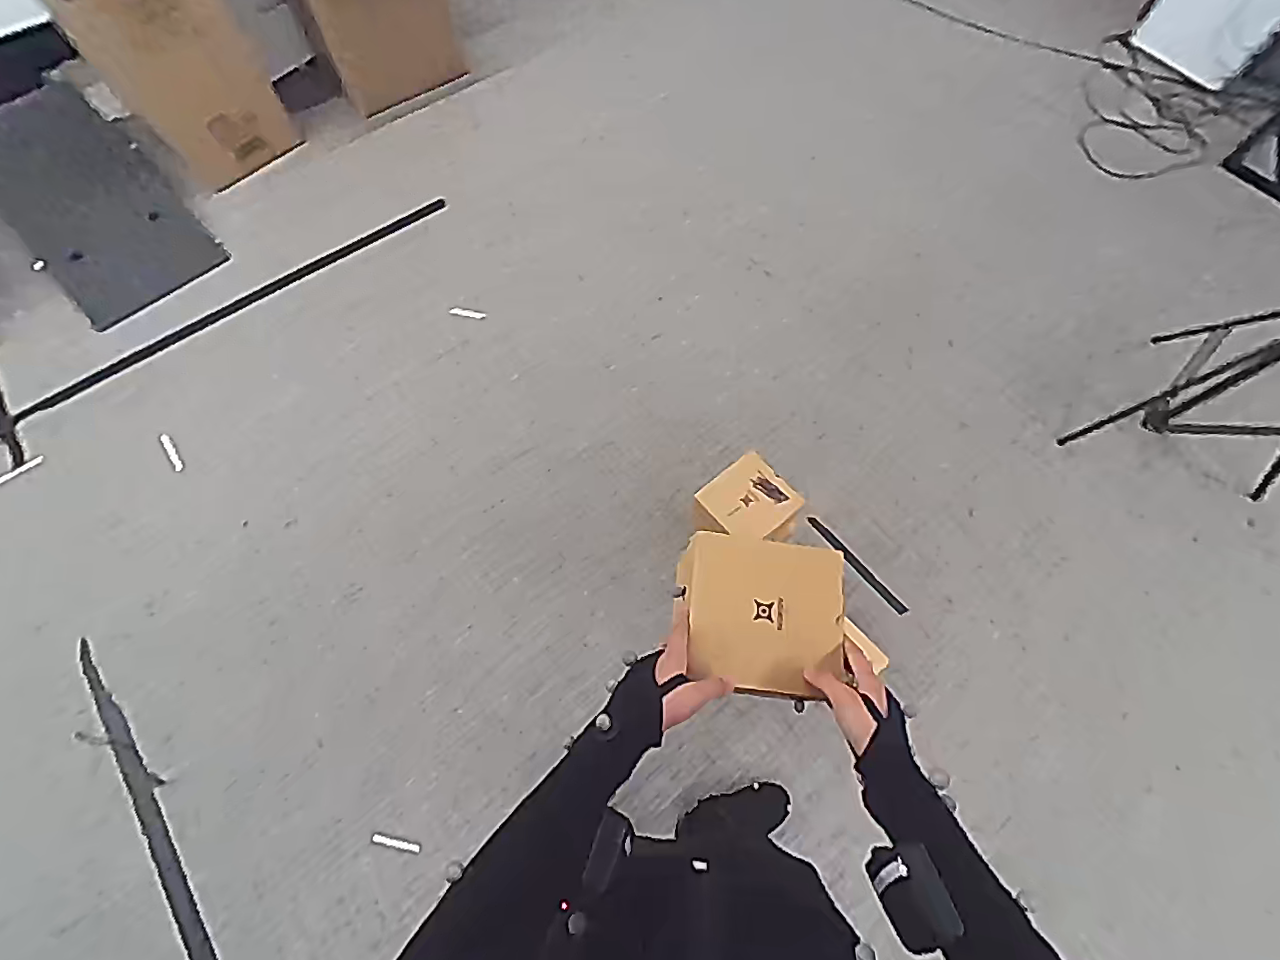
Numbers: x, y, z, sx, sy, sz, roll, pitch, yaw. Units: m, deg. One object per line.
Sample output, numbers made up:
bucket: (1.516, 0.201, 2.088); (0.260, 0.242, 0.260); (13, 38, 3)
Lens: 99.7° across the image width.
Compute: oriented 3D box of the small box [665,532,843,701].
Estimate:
small box: (0.129, 0.174, 0.665); (0.179, 0.176, 0.168); (8, 68, -2)

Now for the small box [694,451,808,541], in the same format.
small box: (0.236, 0.072, 1.205); (0.179, 0.176, 0.168); (-37, 71, -14)
